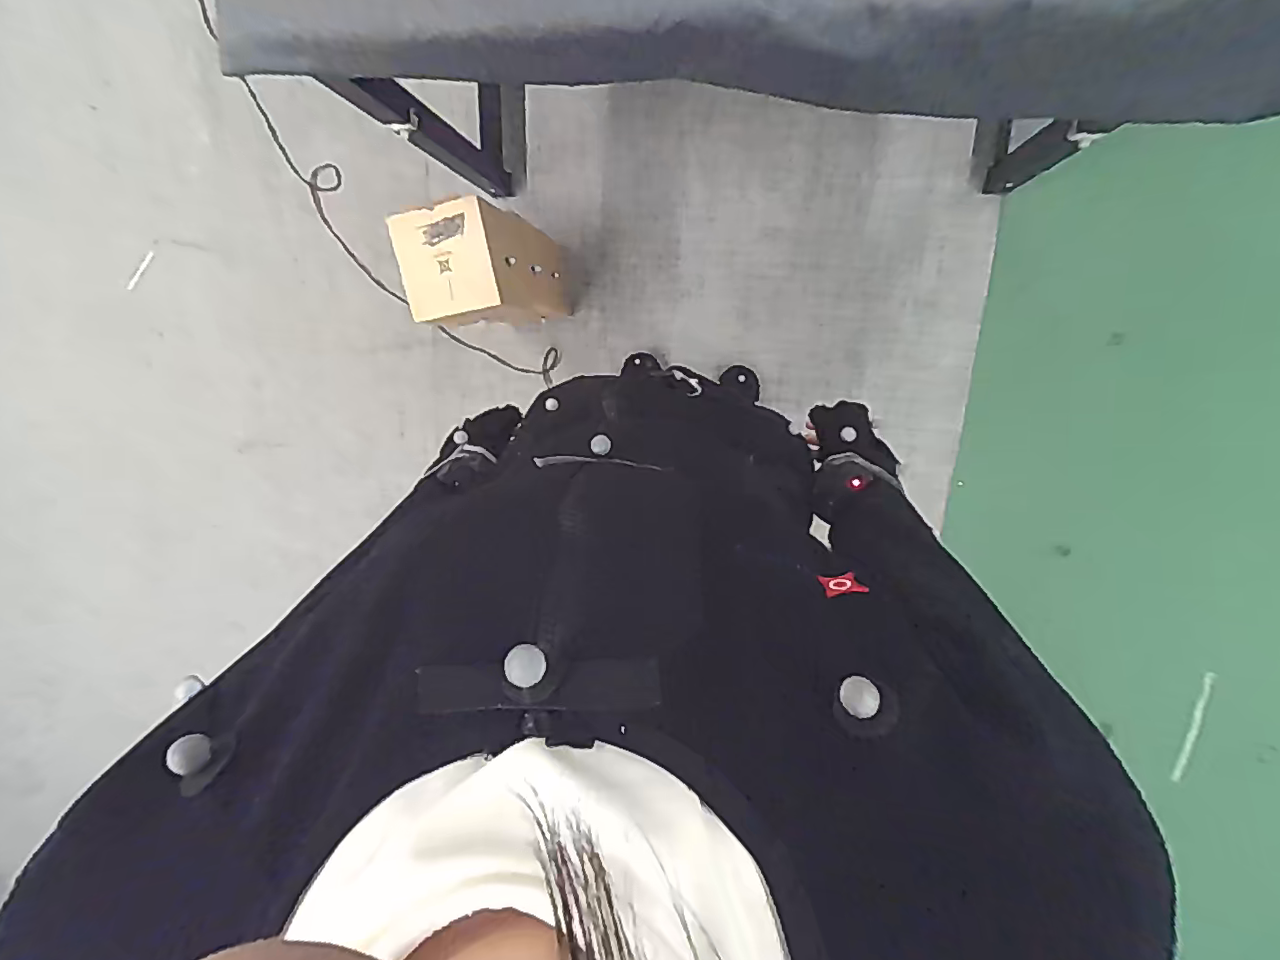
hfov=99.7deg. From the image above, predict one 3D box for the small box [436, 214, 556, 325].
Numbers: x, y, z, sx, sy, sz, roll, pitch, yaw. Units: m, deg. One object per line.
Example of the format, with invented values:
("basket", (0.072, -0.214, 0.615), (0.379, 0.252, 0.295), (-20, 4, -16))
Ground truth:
("small box", (-0.293, -0.432, 1.143), (0.168, 0.176, 0.179), (-11, 100, 13))
